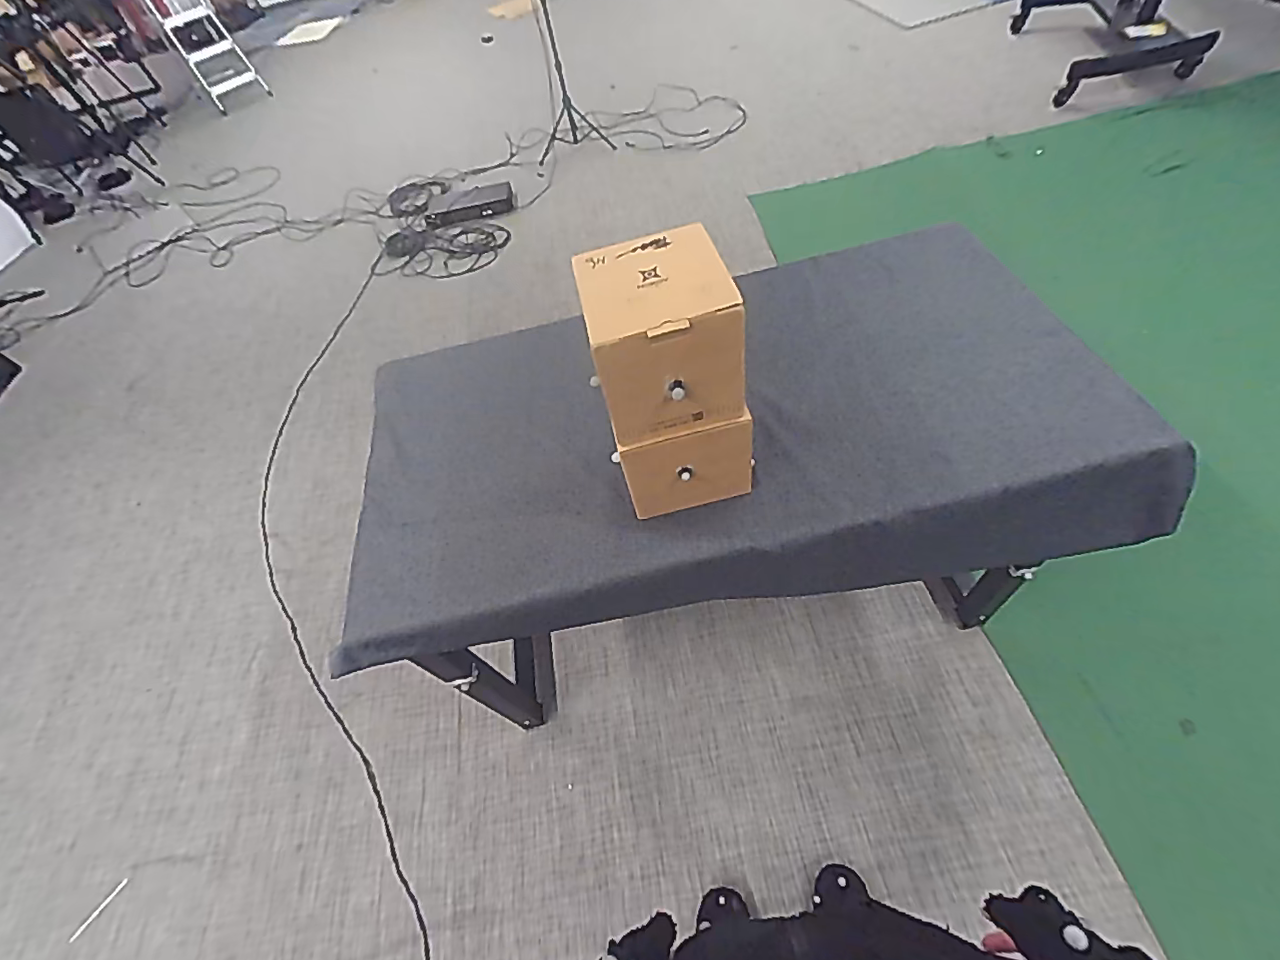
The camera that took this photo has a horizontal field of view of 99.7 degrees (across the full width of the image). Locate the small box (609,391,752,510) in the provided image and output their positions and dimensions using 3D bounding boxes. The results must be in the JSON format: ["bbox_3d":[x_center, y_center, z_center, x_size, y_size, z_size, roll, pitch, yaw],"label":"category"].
[{"bbox_3d":[0.055,-0.079,0.792,0.179,0.176,0.168,-14,54,2],"label":"small box"}]

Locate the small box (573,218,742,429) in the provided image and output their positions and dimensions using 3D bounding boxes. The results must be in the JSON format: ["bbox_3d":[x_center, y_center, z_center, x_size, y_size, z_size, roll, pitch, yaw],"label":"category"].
[{"bbox_3d":[0.026,-0.182,0.668,0.168,0.176,0.179,-14,54,1],"label":"small box"}]
